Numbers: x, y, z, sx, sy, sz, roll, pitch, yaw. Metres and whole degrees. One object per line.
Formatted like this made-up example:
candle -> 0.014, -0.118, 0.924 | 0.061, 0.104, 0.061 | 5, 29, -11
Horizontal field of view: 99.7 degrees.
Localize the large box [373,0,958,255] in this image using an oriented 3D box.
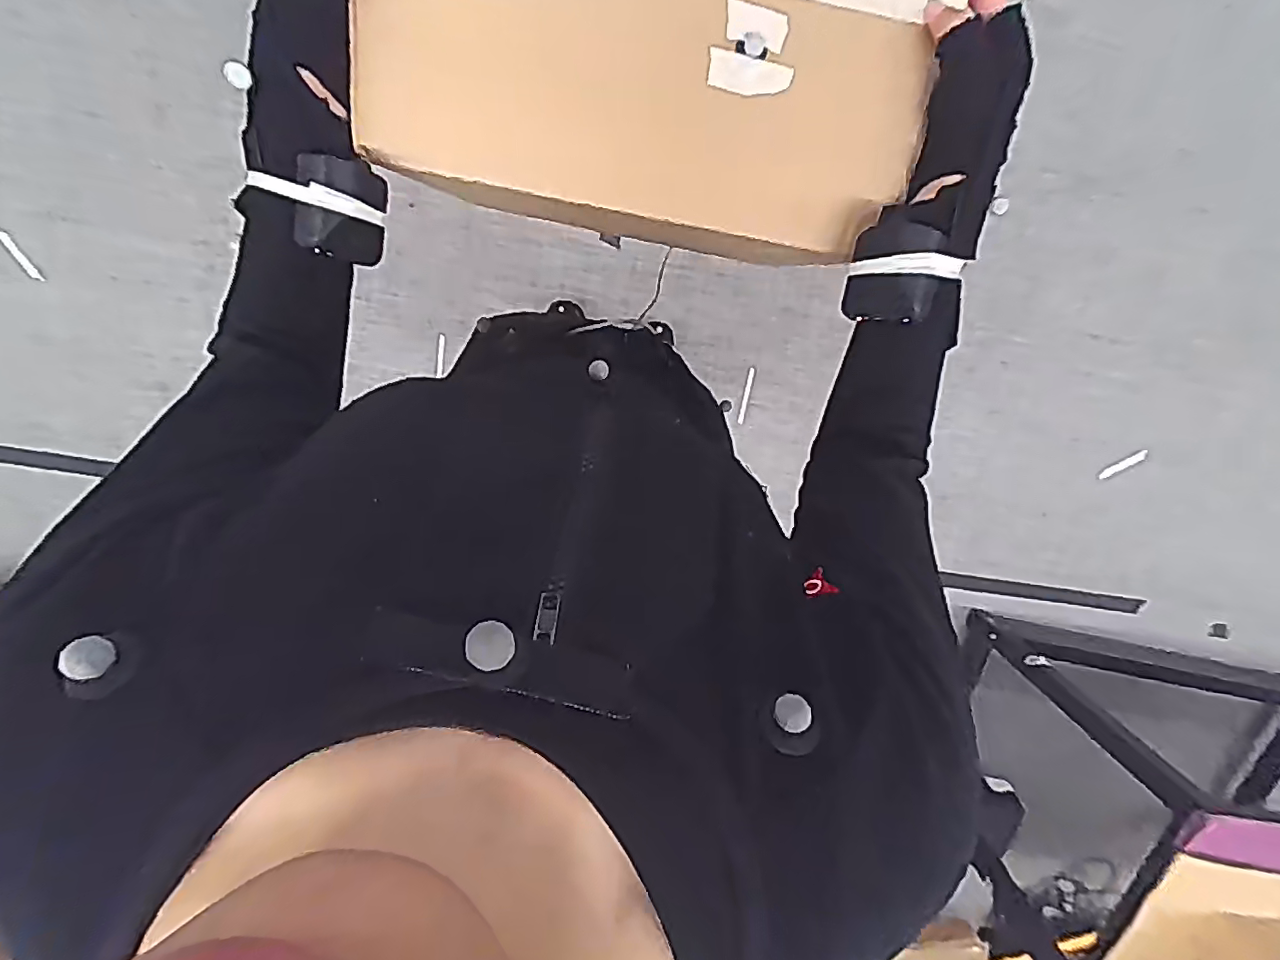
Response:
large box -> 0.018, -0.408, 0.499 | 0.408, 0.320, 0.320 | 9, 112, -6
